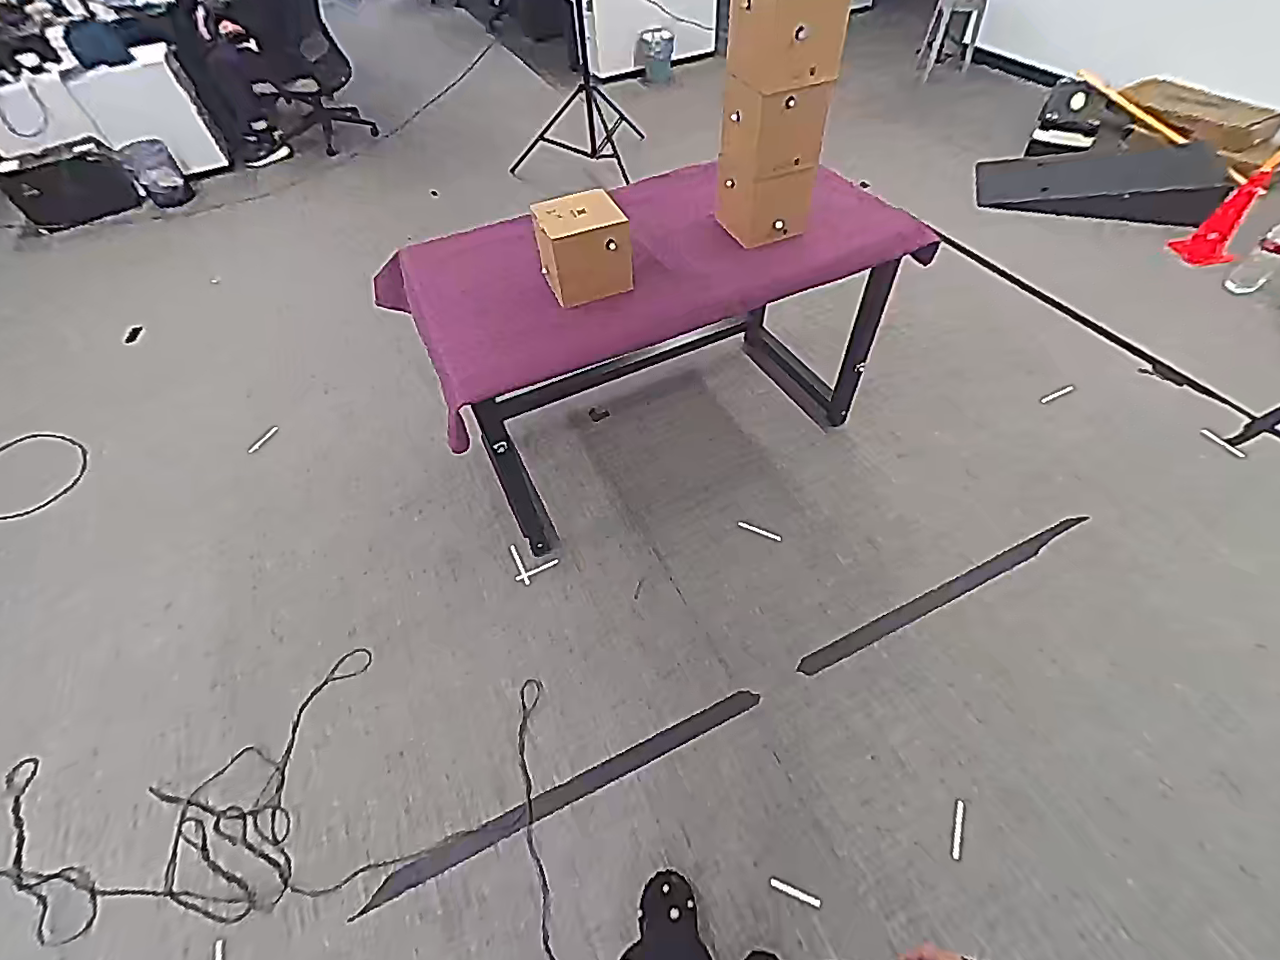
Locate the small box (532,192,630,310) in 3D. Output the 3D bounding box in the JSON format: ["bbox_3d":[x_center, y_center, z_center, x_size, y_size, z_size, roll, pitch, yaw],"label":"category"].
[{"bbox_3d":[-0.127,-0.518,1.230,0.179,0.176,0.168,-20,54,-11],"label":"small box"}]

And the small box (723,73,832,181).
[{"bbox_3d":[0.293,-0.795,1.203,0.168,0.176,0.179,-19,53,-9],"label":"small box"}]

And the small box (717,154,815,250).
[{"bbox_3d":[0.301,-0.700,1.336,0.168,0.176,0.179,-21,55,-11],"label":"small box"}]

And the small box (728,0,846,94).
[{"bbox_3d":[0.287,-0.889,1.069,0.168,0.176,0.179,-20,54,-9],"label":"small box"}]
